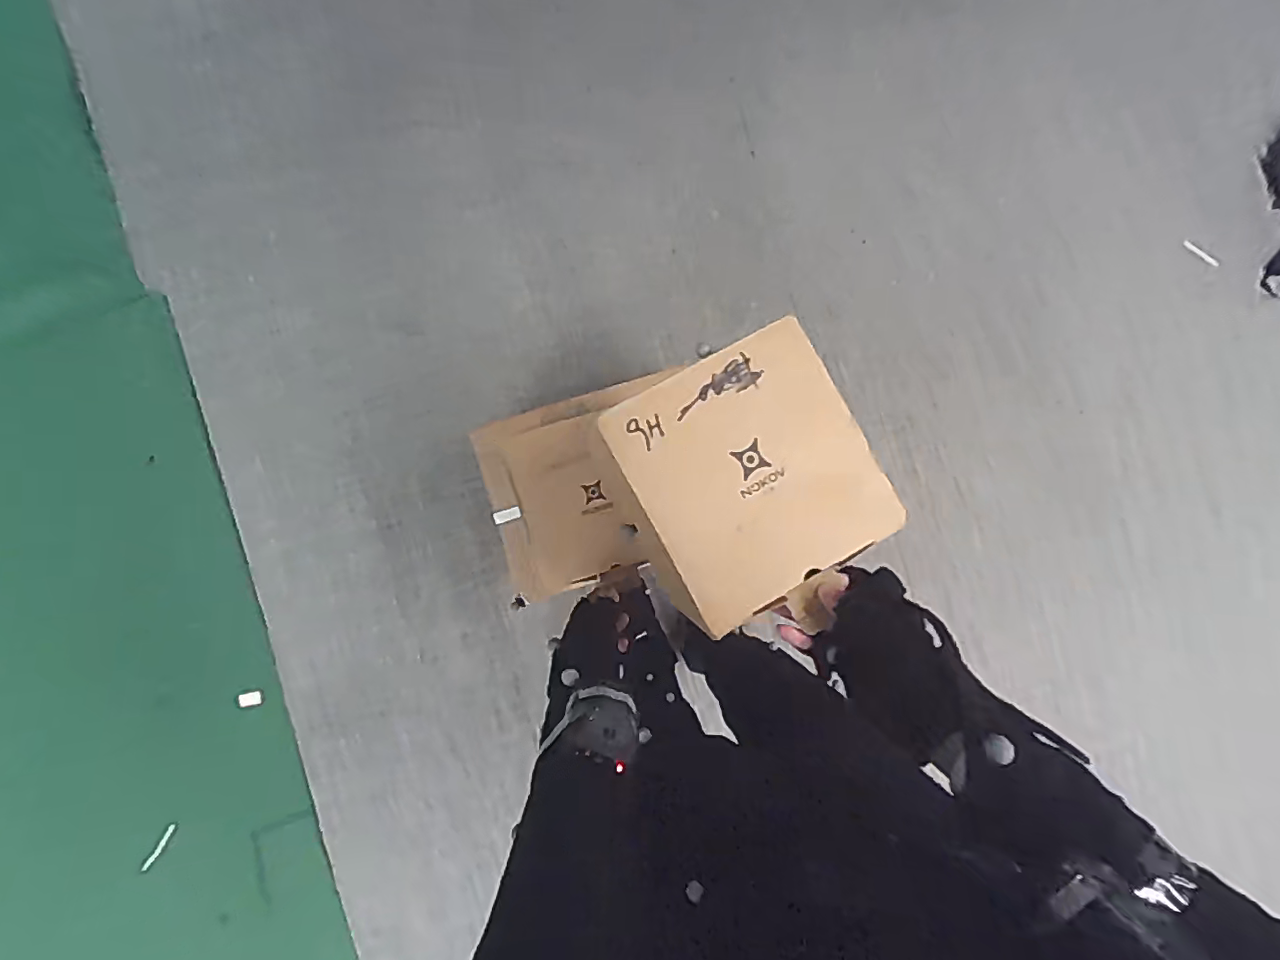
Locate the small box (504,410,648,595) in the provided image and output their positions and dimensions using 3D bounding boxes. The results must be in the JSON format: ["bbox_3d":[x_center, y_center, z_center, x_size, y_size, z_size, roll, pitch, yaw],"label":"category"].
[{"bbox_3d":[-0.051,0.016,0.667,0.168,0.176,0.179,-17,95,-4],"label":"small box"}]

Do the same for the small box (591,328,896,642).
[{"bbox_3d":[0.069,0.004,0.463,0.168,0.176,0.179,-29,90,-8],"label":"small box"}]
